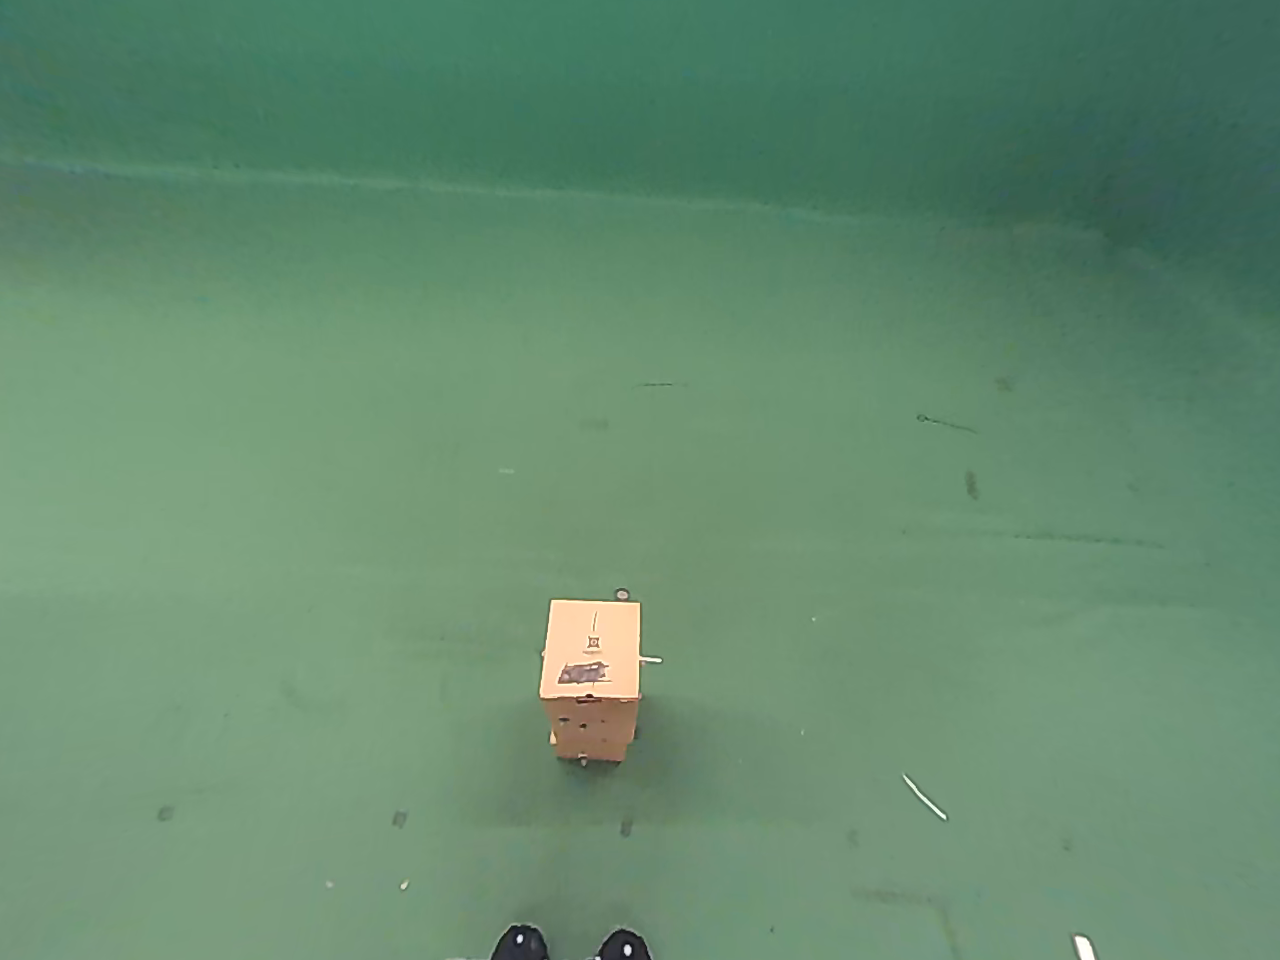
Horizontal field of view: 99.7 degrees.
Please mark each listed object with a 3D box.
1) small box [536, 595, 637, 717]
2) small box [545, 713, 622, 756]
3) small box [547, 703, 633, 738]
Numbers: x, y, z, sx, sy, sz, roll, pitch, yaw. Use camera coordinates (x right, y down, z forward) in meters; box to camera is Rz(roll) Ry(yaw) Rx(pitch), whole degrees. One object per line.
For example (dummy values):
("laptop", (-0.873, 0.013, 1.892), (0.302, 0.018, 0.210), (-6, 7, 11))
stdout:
("small box", (-0.092, 0.332, 1.006), (0.168, 0.176, 0.179), (3, 52, -2))
("small box", (-0.118, 0.521, 1.250), (0.168, 0.176, 0.179), (4, 53, 1))
("small box", (-0.099, 0.430, 1.138), (0.168, 0.176, 0.179), (3, 52, -2))
